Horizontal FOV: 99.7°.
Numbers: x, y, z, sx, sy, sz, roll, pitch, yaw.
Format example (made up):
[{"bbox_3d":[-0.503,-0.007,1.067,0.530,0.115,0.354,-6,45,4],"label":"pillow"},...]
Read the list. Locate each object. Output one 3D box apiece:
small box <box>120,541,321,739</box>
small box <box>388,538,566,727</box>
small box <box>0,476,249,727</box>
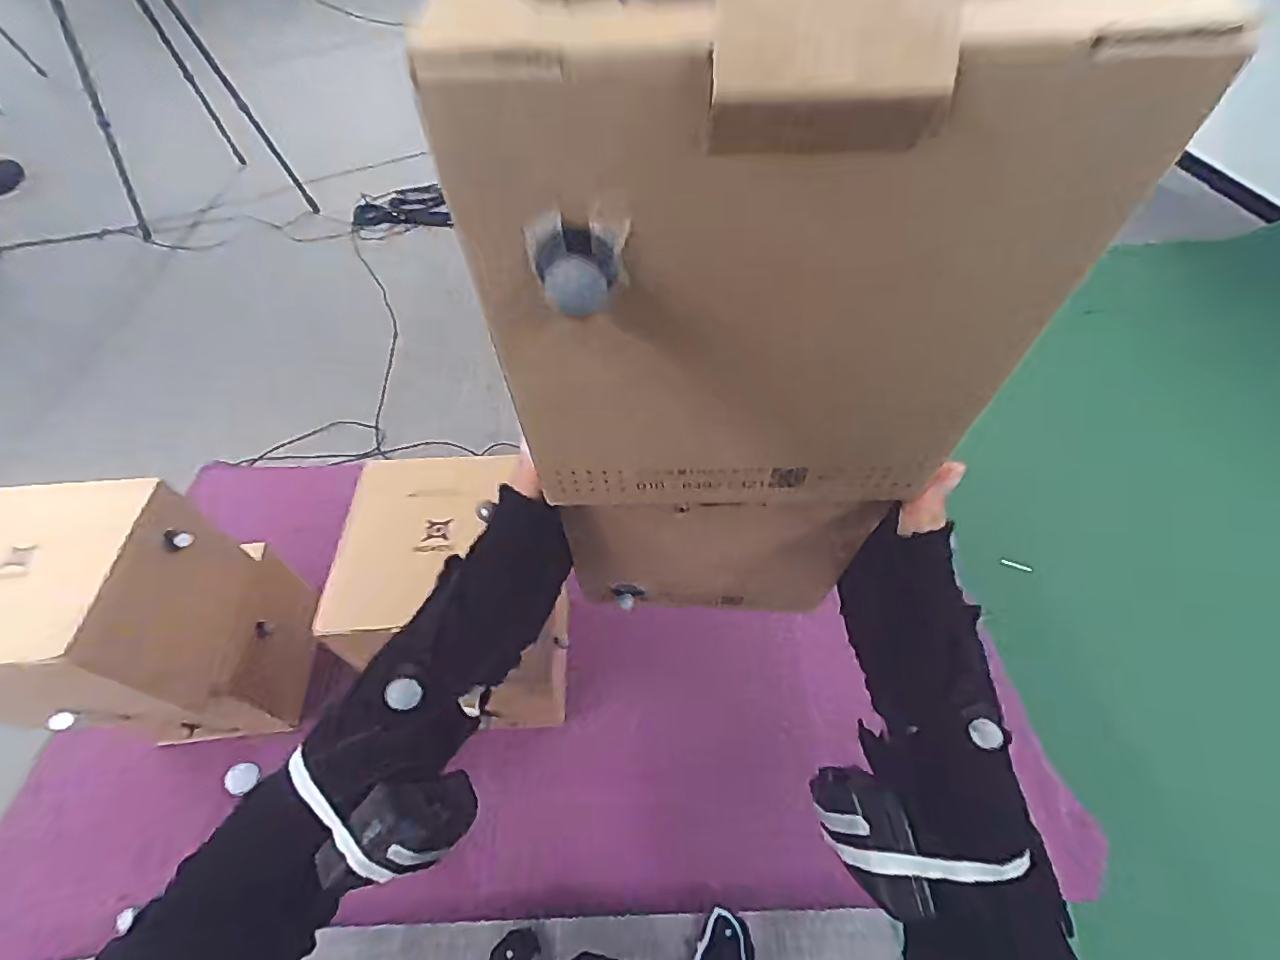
[{"bbox_3d":[-0.520,0.196,0.657,0.168,0.176,0.179,-5,54,-5],"label":"small box"},{"bbox_3d":[-0.183,0.194,0.666,0.168,0.176,0.179,-5,53,-3],"label":"small box"},{"bbox_3d":[-0.517,0.117,0.512,0.168,0.176,0.179,-4,54,-4],"label":"small box"}]
